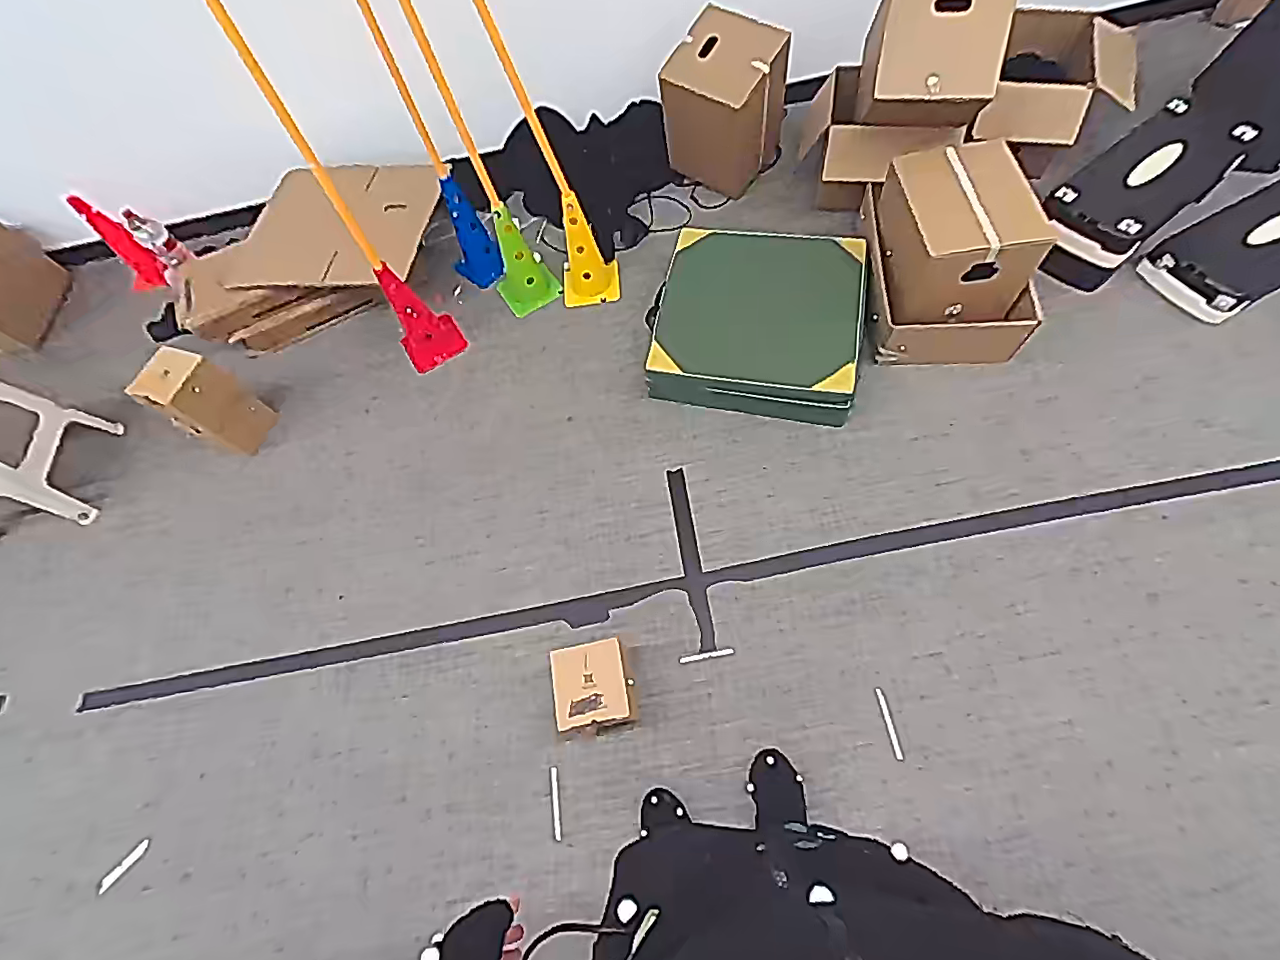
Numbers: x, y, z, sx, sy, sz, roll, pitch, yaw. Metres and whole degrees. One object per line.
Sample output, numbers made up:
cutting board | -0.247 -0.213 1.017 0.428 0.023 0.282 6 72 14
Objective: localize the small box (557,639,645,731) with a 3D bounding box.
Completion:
small box | -0.090 0.496 1.297 0.168 0.176 0.179 -13 63 3
